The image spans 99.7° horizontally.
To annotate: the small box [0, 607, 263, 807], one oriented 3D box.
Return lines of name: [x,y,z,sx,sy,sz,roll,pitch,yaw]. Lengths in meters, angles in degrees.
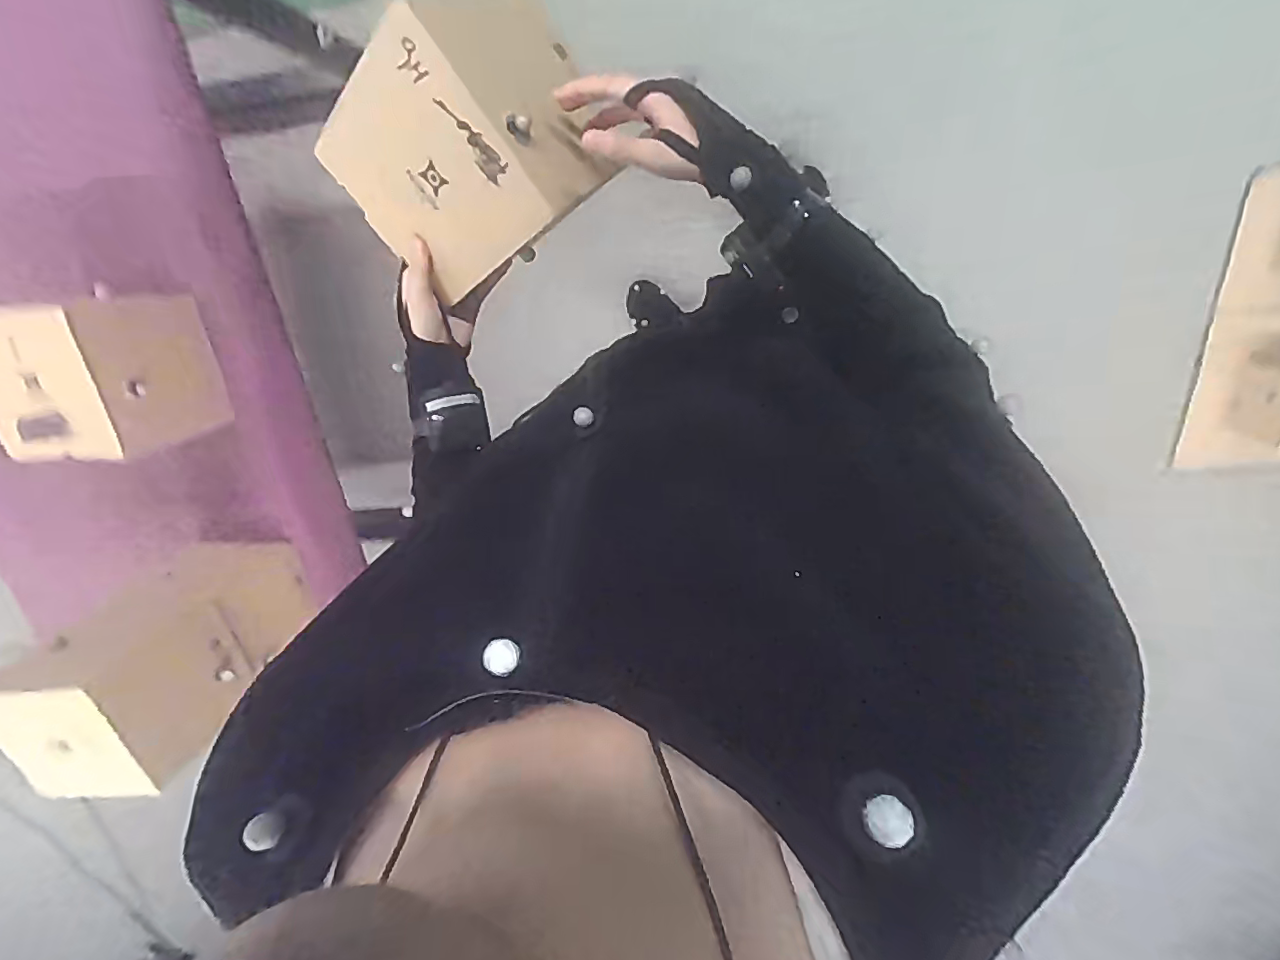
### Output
small box: [-0.637,0.278,0.683,0.179,0.176,0.168,-6,113,9]

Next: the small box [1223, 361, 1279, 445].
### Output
small box: [1.528,-0.176,1.244,0.179,0.176,0.168,-1,114,5]

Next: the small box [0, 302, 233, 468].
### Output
small box: [-0.677,-0.127,0.693,0.168,0.176,0.179,-1,112,7]
